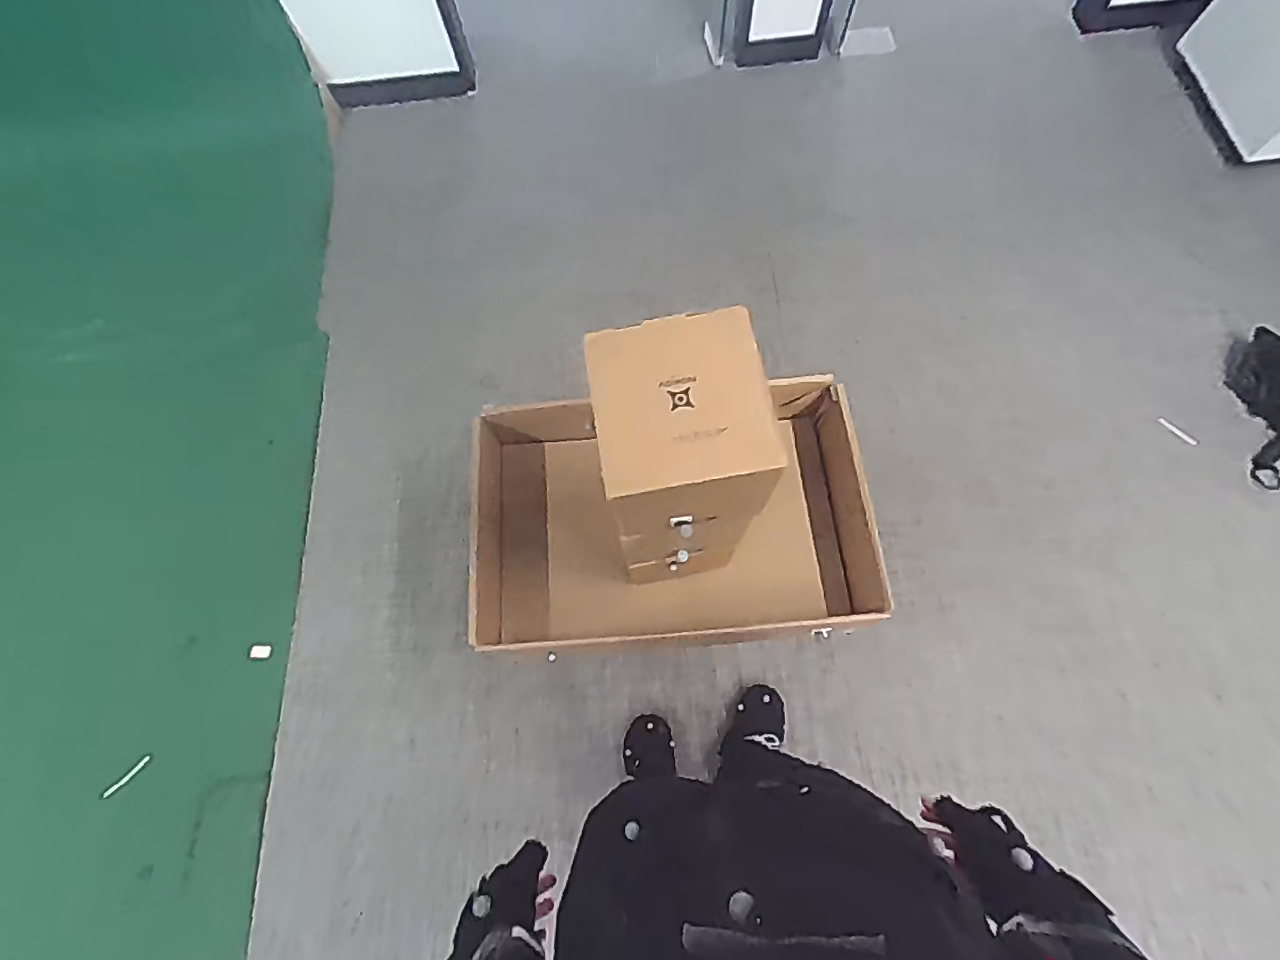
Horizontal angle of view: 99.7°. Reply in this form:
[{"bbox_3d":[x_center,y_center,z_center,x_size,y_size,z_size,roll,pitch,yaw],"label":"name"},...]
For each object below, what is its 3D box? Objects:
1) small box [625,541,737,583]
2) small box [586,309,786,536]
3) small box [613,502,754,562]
[{"bbox_3d":[0.052,0.058,0.891,0.168,0.176,0.179,-12,70,0],"label":"small box"},{"bbox_3d":[0.042,-0.052,0.584,0.168,0.176,0.179,-11,72,1],"label":"small box"},{"bbox_3d":[0.045,0.001,0.737,0.168,0.176,0.179,-11,71,0],"label":"small box"}]
